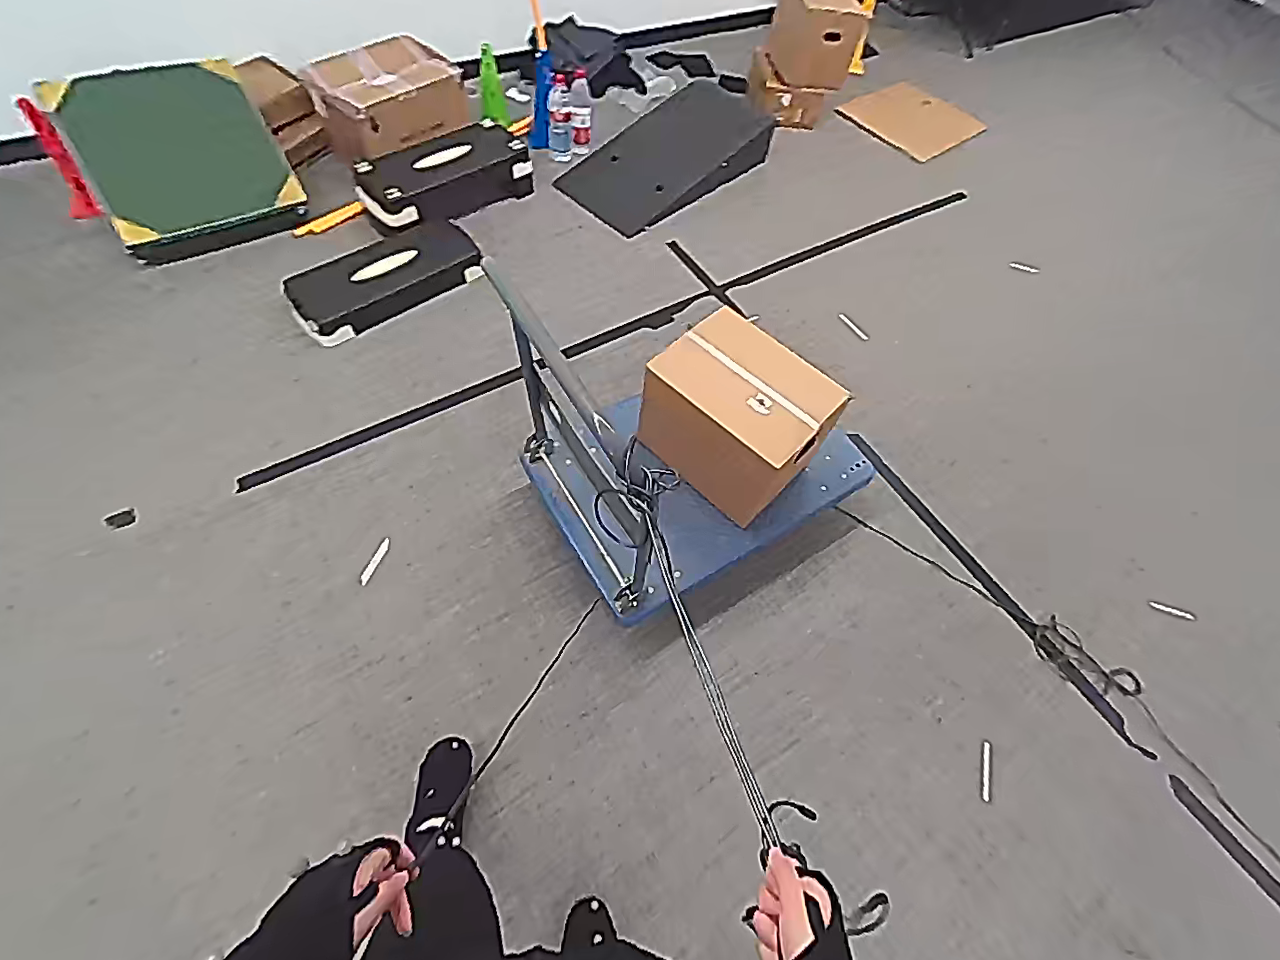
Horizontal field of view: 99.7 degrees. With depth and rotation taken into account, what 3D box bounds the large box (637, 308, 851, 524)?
[{"bbox_3d":[0.246,-0.165,1.418,0.408,0.320,0.320,42,65,16],"label":"large box"}]
